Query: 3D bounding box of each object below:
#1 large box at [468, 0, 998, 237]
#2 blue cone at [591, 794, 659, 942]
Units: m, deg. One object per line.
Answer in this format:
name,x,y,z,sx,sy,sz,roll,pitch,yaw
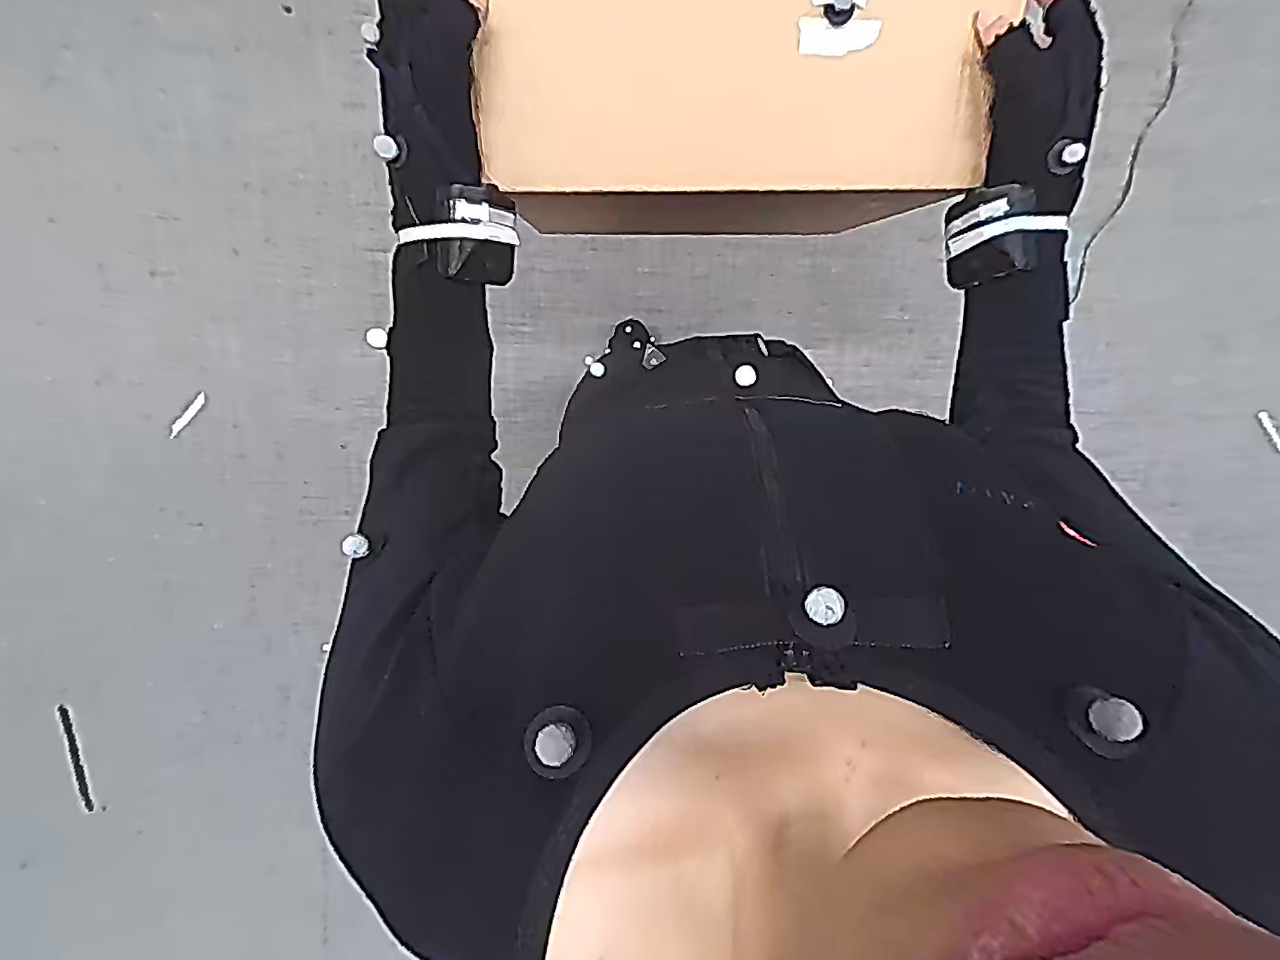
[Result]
large box,0.063,-0.430,0.533,0.408,0.320,0.320,-1,108,-2
blue cone,-0.054,1.147,1.594,0.193,0.380,0.192,22,103,-3
